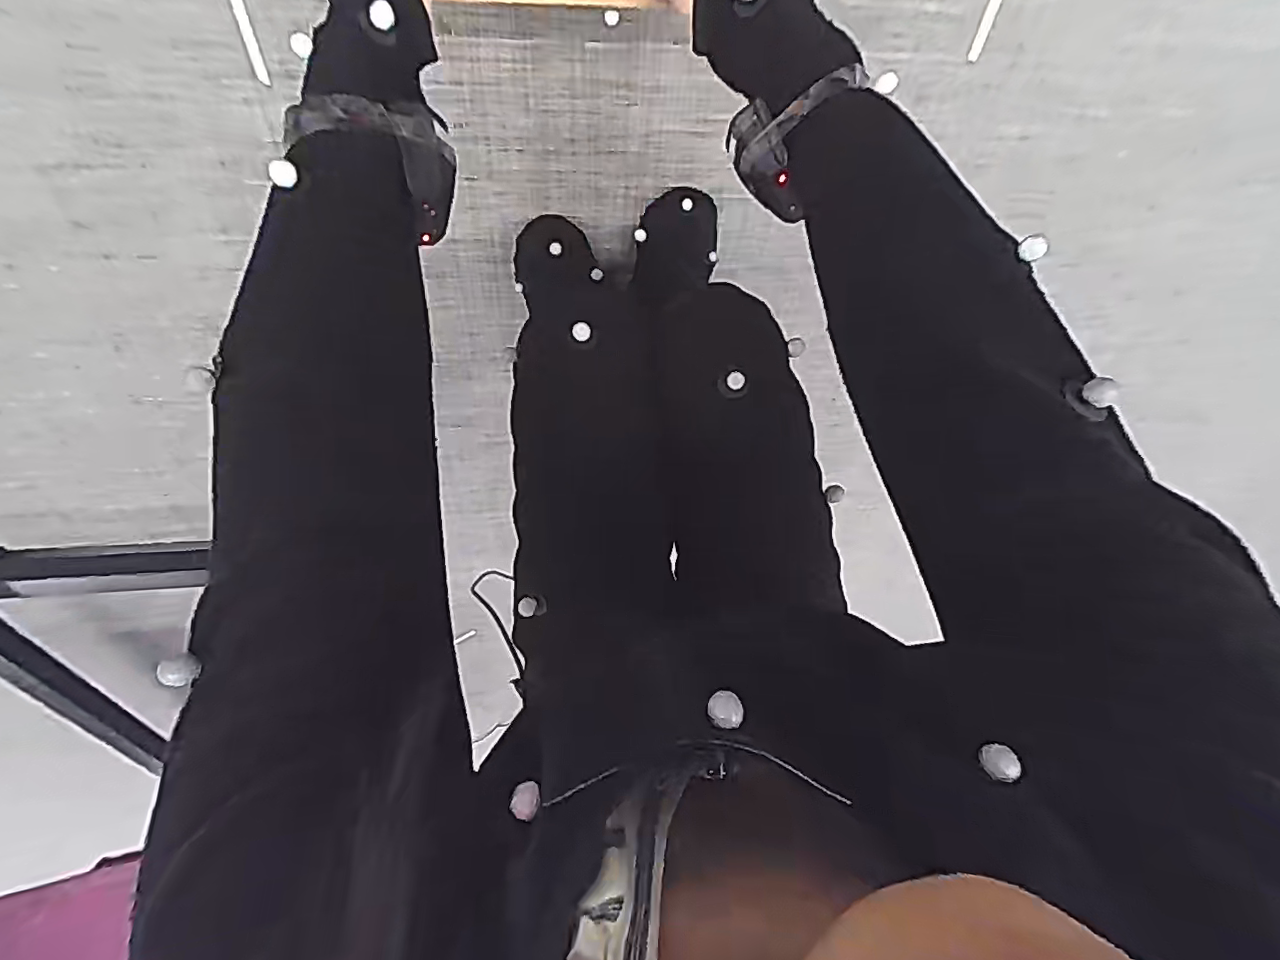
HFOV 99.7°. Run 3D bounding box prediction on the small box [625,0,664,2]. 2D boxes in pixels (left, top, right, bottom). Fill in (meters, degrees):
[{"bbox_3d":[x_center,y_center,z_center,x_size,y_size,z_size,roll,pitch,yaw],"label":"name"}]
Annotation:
[{"bbox_3d":[-0.072,-0.458,0.378,0.179,0.176,0.168,-7,140,-9],"label":"small box"}]
